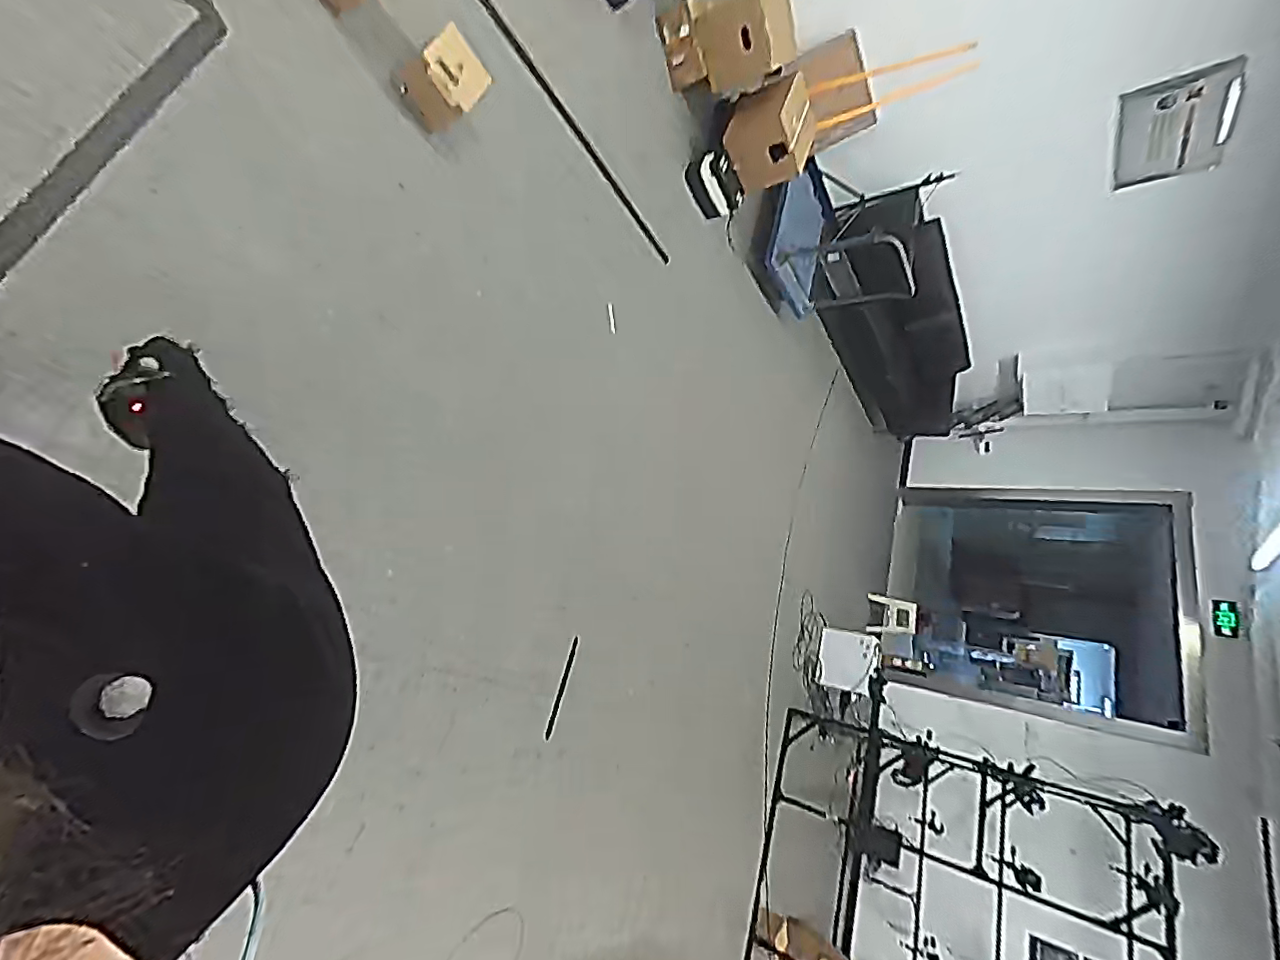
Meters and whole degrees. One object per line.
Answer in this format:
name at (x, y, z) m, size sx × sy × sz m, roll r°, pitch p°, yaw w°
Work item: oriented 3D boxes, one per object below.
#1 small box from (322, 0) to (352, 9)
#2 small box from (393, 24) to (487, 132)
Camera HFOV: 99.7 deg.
small box at (-0.762, -1.337, 1.355) m, size 0.179 × 0.176 × 0.168 m, roll 46°, pitch 56°, yaw -44°
small box at (-0.591, -1.167, 1.584) m, size 0.168 × 0.176 × 0.179 m, roll 46°, pitch 55°, yaw -43°
